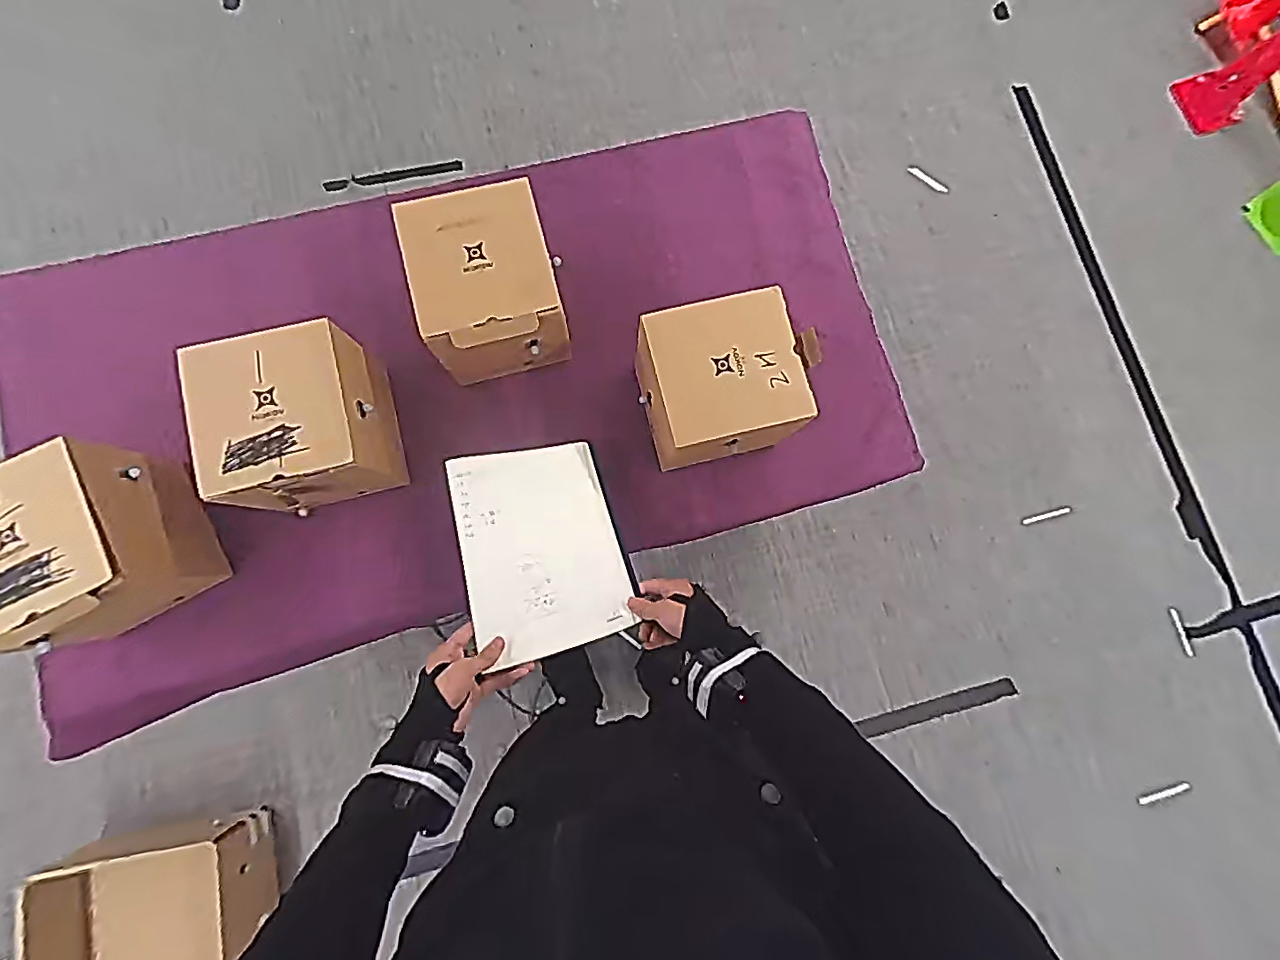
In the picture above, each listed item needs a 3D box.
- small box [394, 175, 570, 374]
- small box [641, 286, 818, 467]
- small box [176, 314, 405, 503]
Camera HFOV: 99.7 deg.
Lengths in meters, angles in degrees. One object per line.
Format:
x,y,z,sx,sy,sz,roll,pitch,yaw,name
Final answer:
-0.191,-0.250,0.703,0.168,0.176,0.179,-14,83,-6,small box
0.100,-0.121,0.700,0.179,0.176,0.168,-13,83,-5,small box
-0.410,-0.073,0.663,0.168,0.176,0.179,-14,82,-5,small box
